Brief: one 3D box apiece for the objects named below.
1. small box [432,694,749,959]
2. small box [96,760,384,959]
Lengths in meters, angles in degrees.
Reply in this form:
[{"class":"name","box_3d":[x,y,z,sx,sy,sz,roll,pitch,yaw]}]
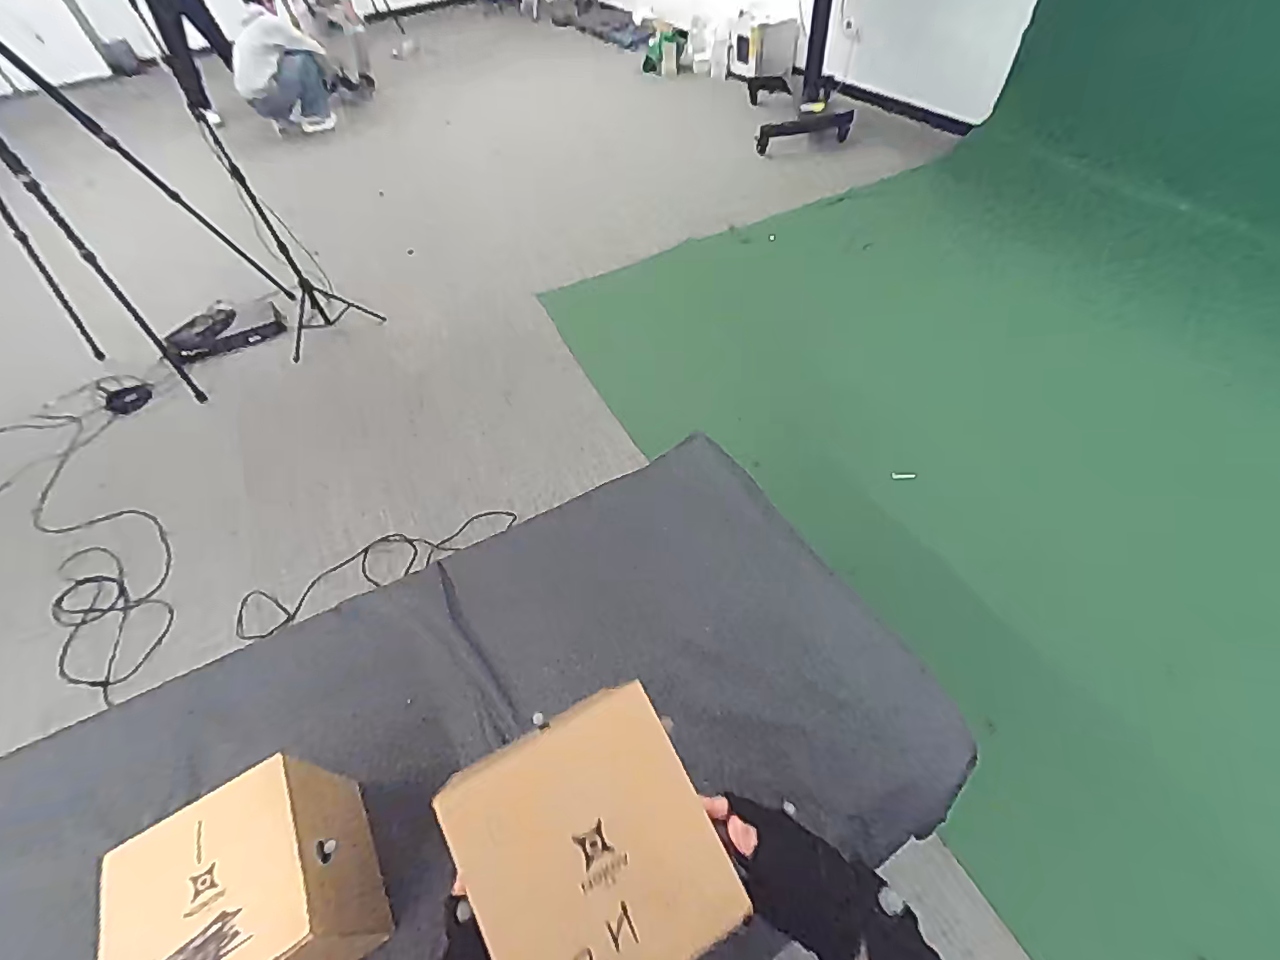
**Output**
[{"class":"small box","box_3d":[-0.049,0.298,0.437,0.168,0.176,0.179,-23,74,-21]},{"class":"small box","box_3d":[-0.387,0.426,0.546,0.168,0.176,0.179,-28,53,-17]}]
